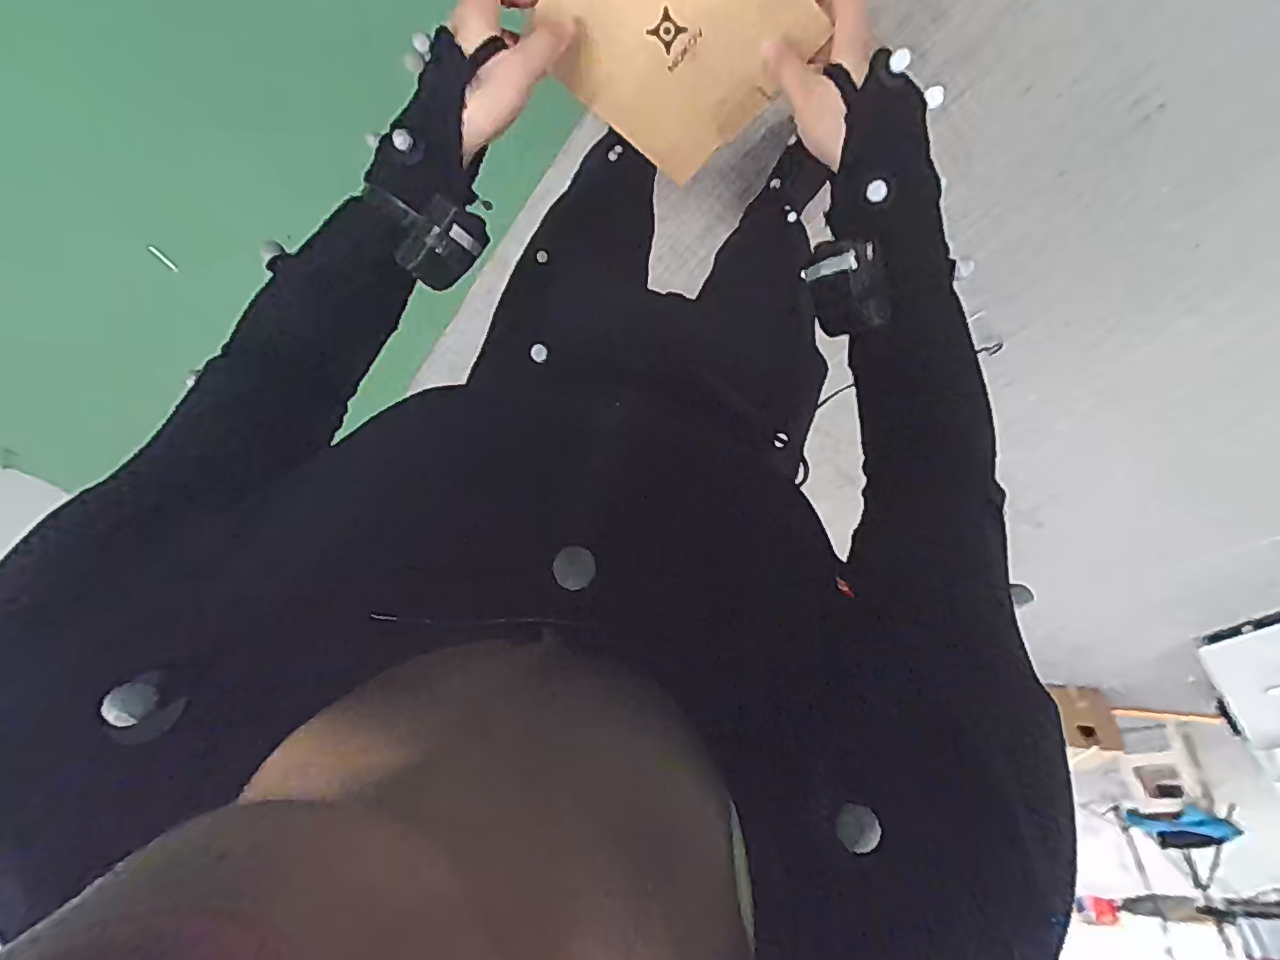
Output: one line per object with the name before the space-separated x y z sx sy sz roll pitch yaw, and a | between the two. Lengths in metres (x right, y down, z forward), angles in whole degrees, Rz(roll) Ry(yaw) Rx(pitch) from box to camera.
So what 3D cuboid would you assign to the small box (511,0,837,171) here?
small box | 0.027 -0.403 0.423 0.179 0.176 0.168 24 147 -32
